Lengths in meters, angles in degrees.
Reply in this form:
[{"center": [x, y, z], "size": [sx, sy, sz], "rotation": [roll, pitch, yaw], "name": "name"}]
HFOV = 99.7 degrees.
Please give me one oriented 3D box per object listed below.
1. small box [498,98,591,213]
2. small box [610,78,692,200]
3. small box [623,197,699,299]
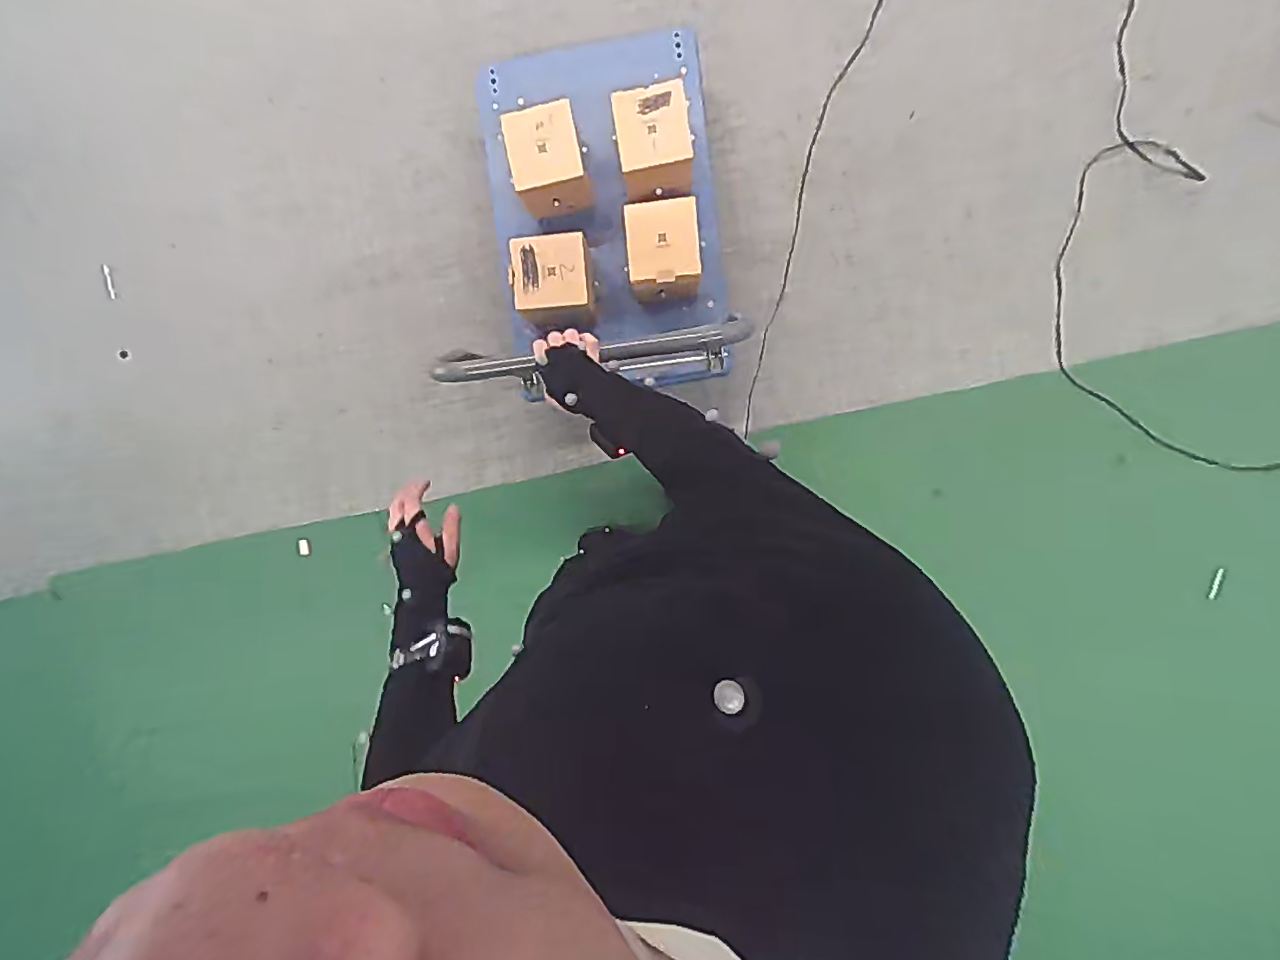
[{"center": [-0.223, -0.769, 1.307], "size": [0.168, 0.176, 0.179], "rotation": [-11, 94, 5], "name": "small box"}, {"center": [0.028, -0.800, 1.285], "size": [0.168, 0.176, 0.179], "rotation": [-8, 96, 6], "name": "small box"}, {"center": [0.052, -0.553, 1.308], "size": [0.168, 0.176, 0.179], "rotation": [-5, 95, 5], "name": "small box"}]
